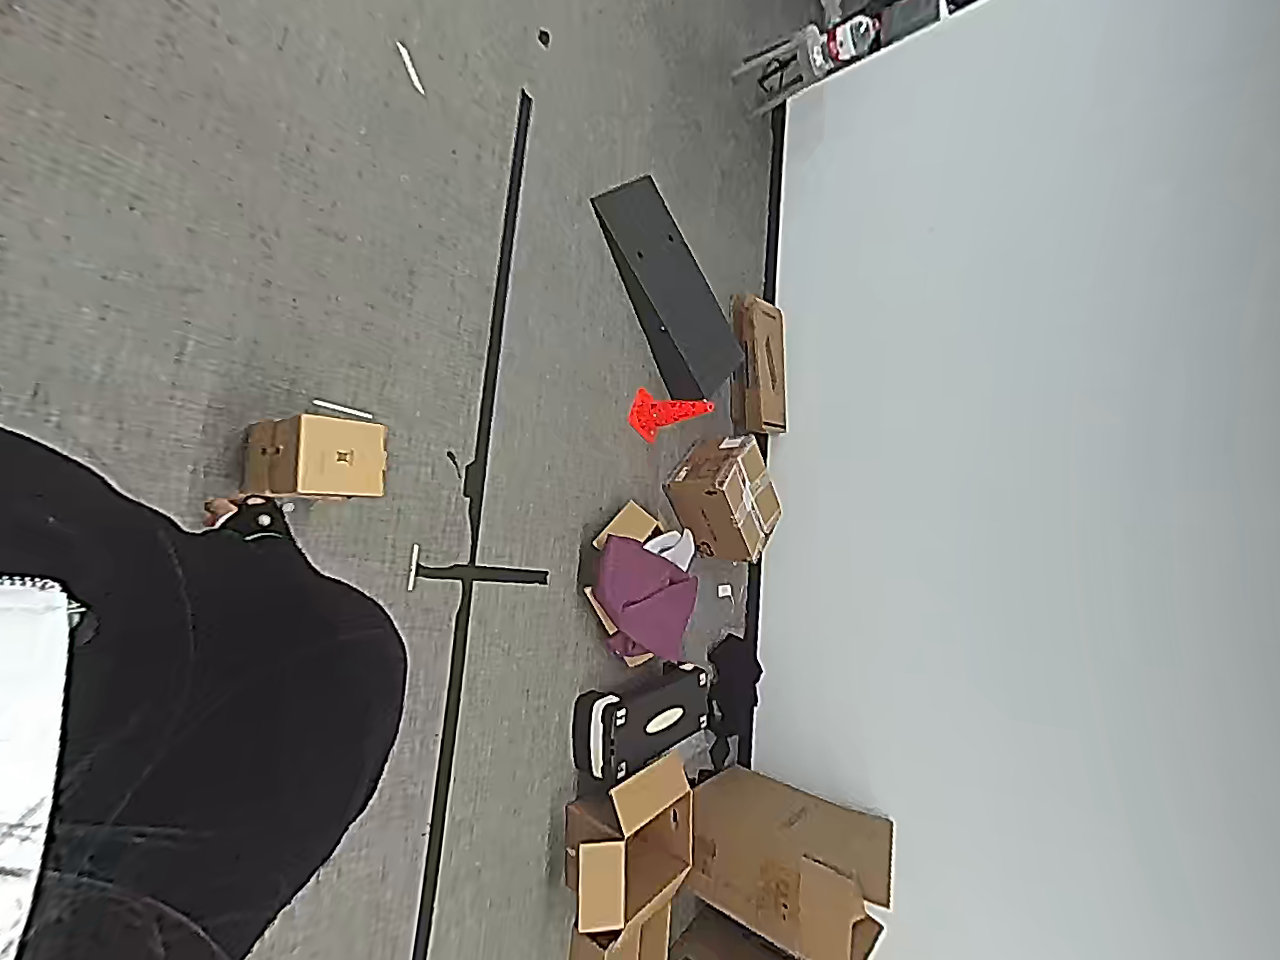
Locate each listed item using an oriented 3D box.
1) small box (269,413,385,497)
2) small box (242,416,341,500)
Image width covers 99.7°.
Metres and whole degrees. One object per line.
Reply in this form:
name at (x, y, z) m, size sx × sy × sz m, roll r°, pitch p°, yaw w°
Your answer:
small box at (-0.701, -0.048, 1.212) m, size 0.179 × 0.176 × 0.168 m, roll 5°, pitch 83°, yaw -49°
small box at (-0.834, -0.046, 1.306) m, size 0.168 × 0.176 × 0.179 m, roll 11°, pitch 81°, yaw -50°
